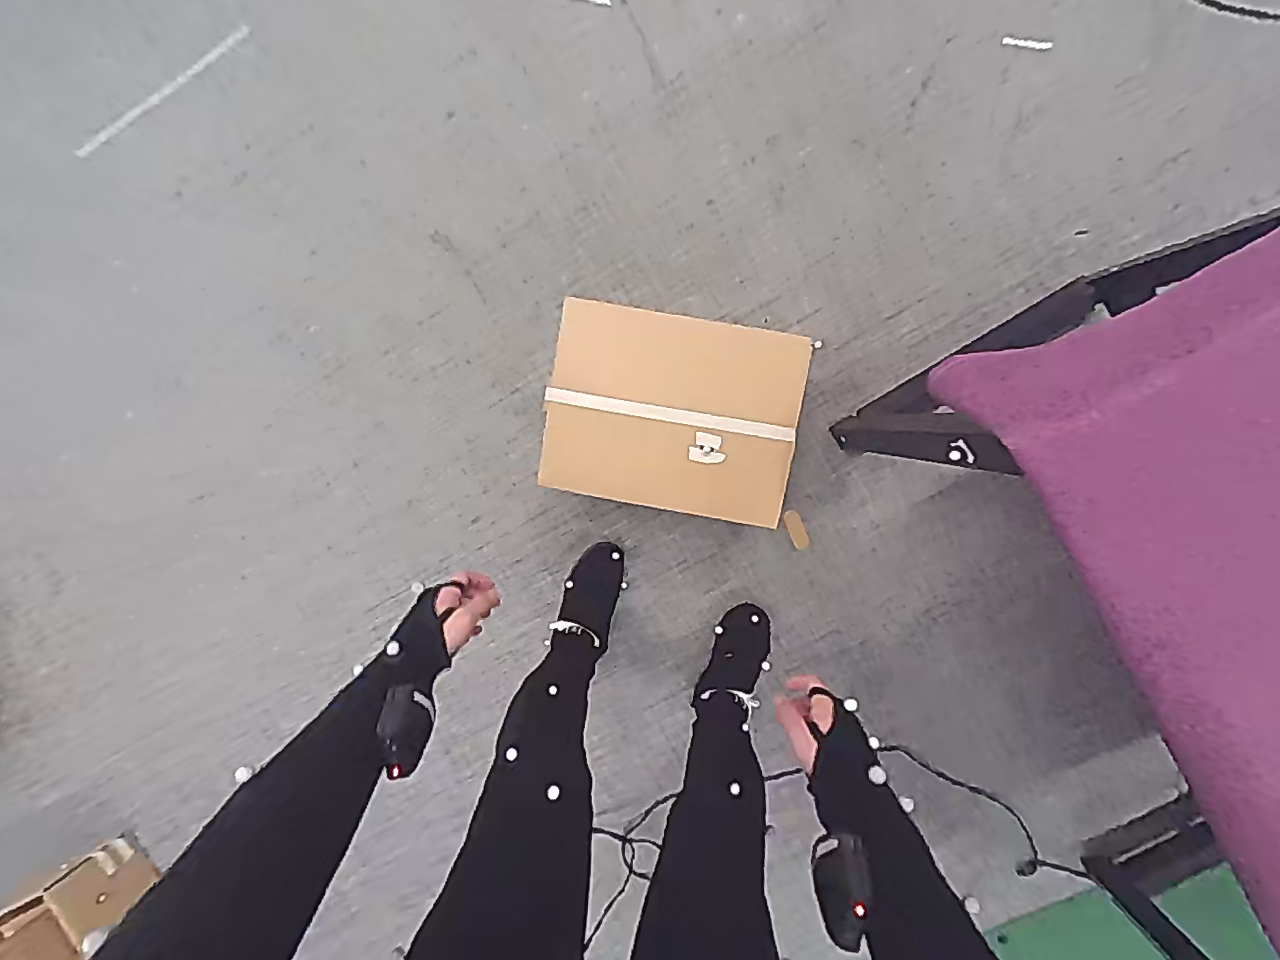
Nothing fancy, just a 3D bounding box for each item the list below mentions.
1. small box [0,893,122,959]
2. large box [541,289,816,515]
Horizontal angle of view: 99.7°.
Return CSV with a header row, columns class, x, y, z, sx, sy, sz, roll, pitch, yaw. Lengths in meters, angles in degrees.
class,x,y,z,sx,sy,sz,roll,pitch,yaw
small box,-1.397,1.121,1.266,0.168,0.176,0.179,-33,94,6
large box,0.060,-0.139,1.004,0.408,0.320,0.320,10,98,2
